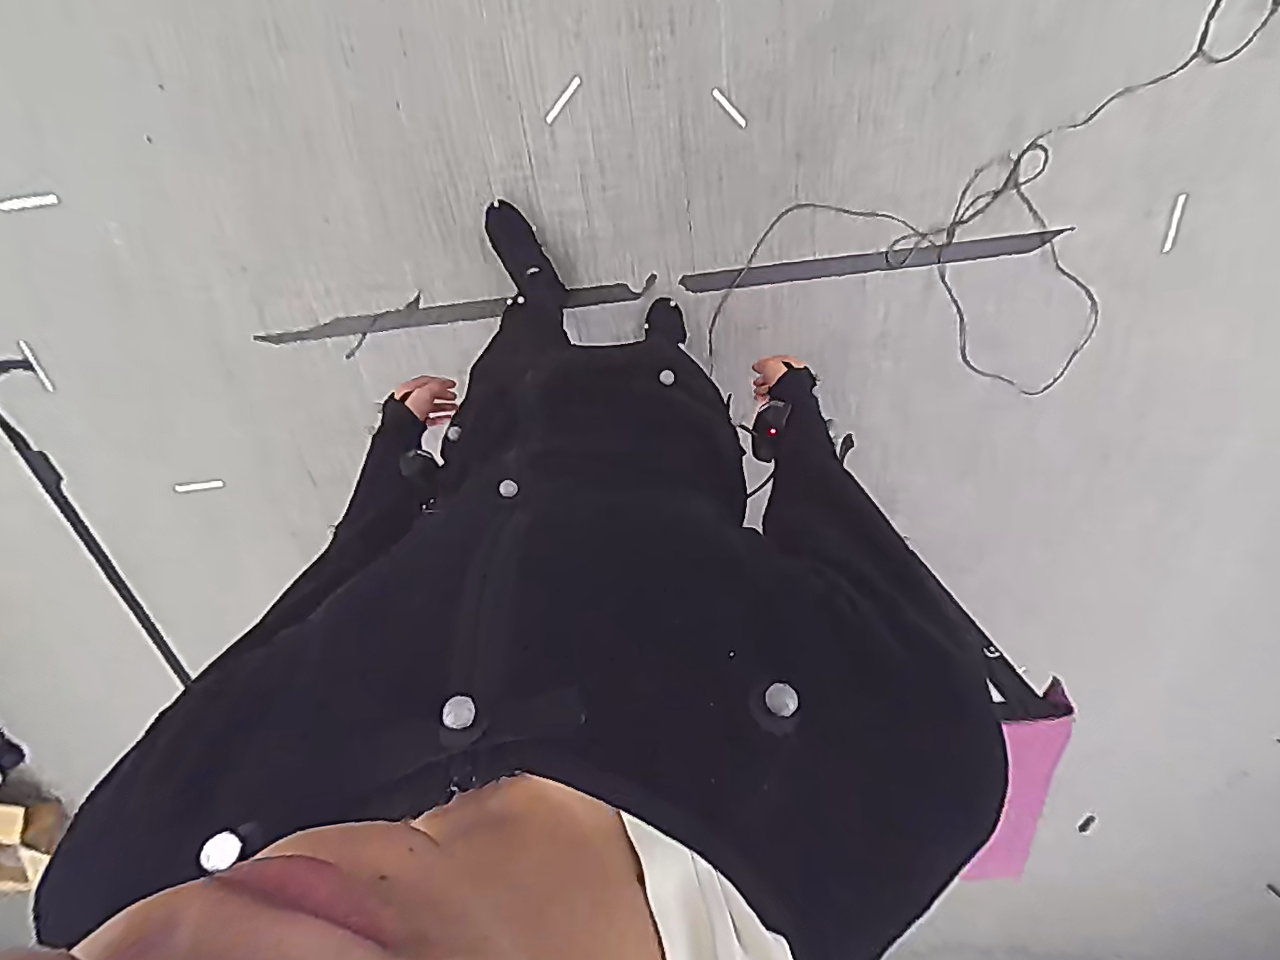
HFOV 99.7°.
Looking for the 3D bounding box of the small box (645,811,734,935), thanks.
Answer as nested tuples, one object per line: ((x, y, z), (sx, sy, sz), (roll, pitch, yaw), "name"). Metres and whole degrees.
((0.109, 0.893, 1.237), (0.179, 0.176, 0.168), (-9, 116, 4), "small box")
